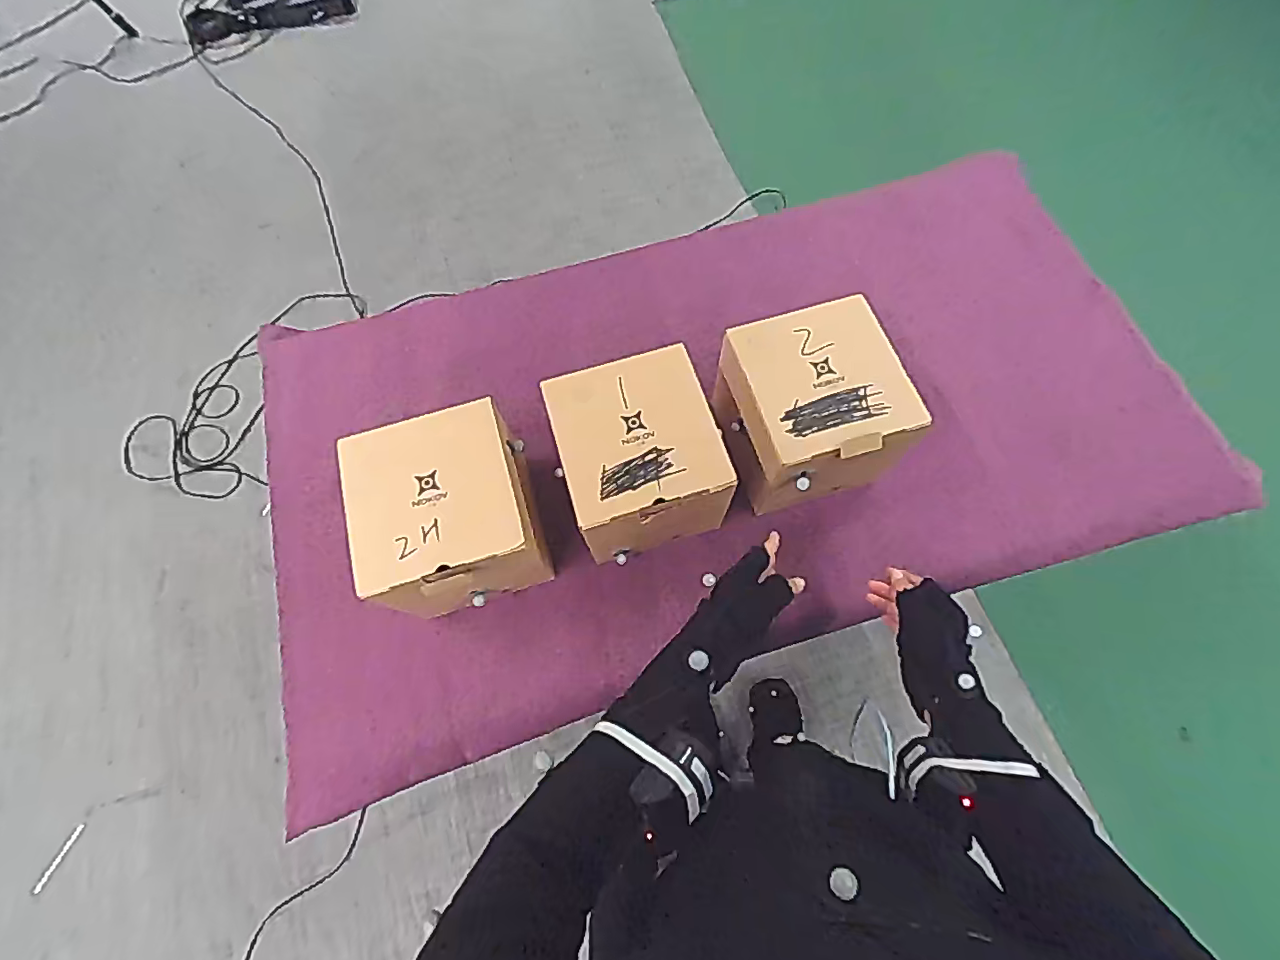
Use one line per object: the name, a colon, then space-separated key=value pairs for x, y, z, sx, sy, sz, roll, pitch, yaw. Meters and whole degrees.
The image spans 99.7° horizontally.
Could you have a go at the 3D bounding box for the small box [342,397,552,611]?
small box: x=-0.211 y=0.036 z=0.621 sx=0.168 sy=0.176 sz=0.179 roll=-17 pitch=70 yaw=-4
